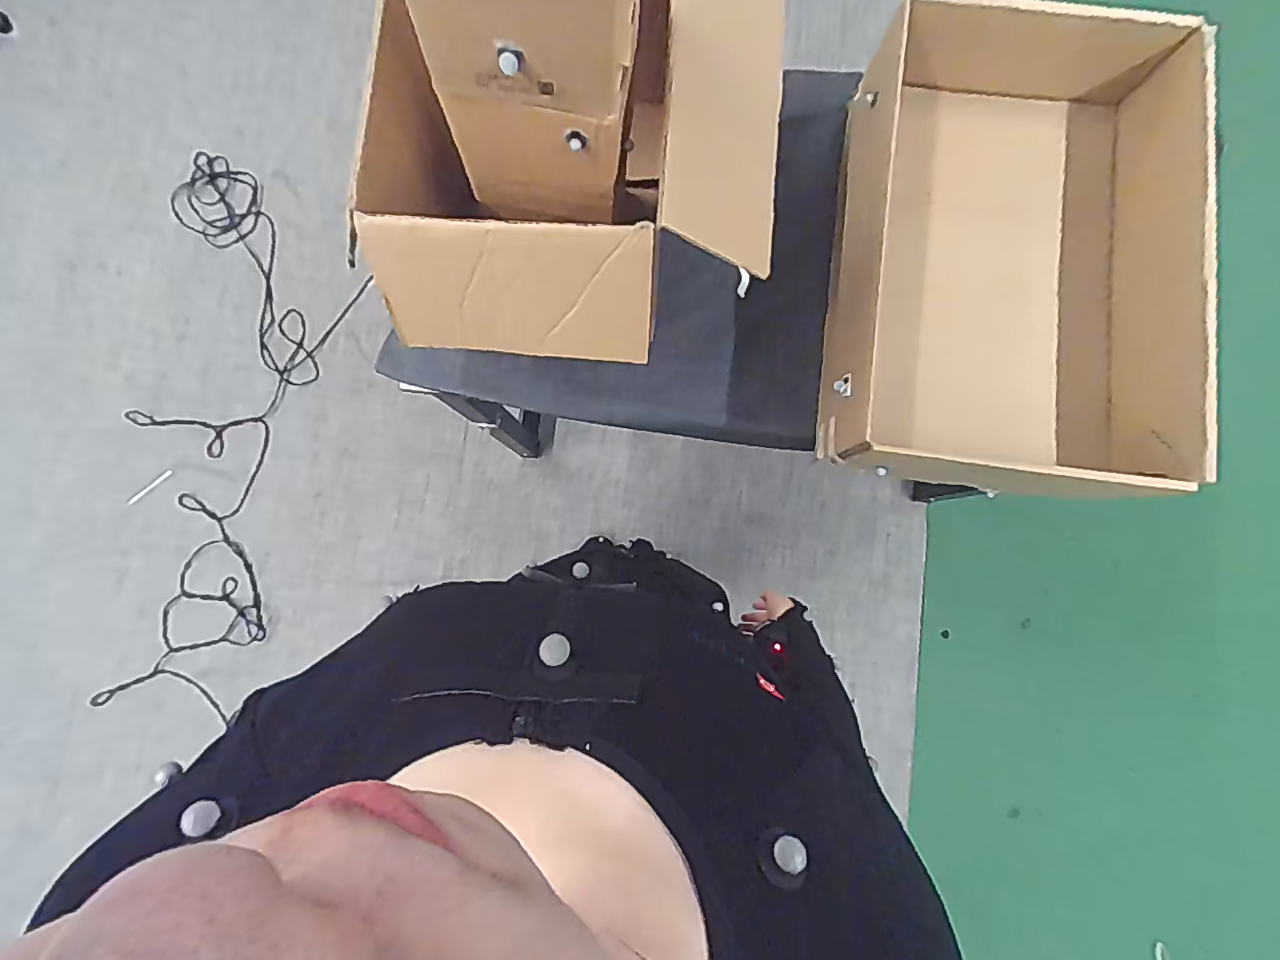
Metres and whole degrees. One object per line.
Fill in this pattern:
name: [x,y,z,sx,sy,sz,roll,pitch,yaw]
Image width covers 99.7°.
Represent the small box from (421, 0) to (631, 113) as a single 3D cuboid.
small box: [-0.088,-0.447,0.433,0.168,0.176,0.179,6,83,-4]
